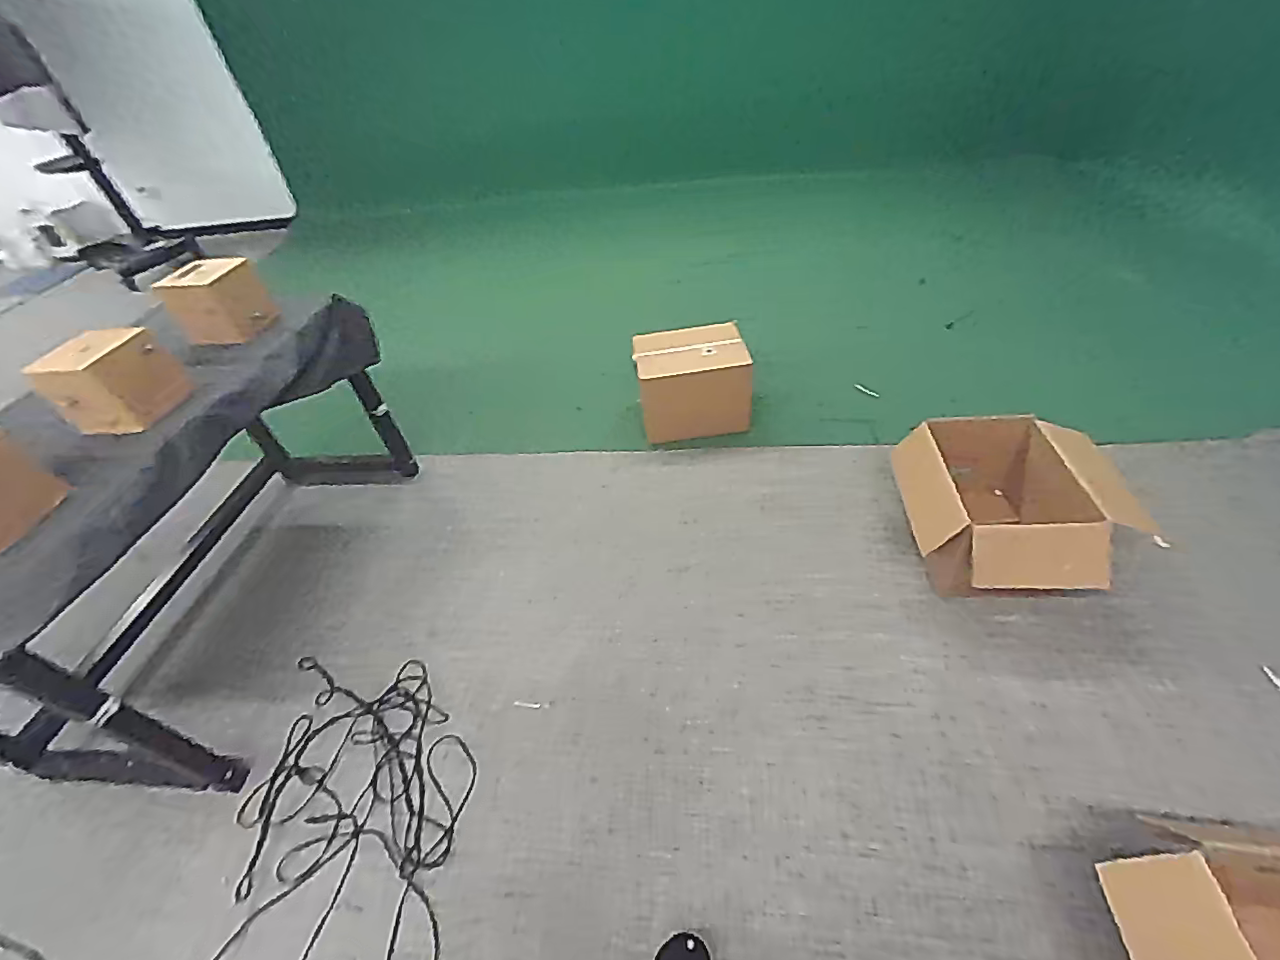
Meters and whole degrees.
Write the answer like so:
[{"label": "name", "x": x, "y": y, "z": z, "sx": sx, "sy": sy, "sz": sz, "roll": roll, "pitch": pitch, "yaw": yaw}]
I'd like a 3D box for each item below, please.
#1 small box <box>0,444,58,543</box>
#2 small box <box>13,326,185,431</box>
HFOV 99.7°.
[{"label": "small box", "x": -1.215, "y": 0.026, "z": 0.947, "sx": 0.168, "sy": 0.176, "sz": 0.179, "roll": -1, "pitch": 43, "yaw": 6}, {"label": "small box", "x": -1.183, "y": -0.221, "z": 1.204, "sx": 0.168, "sy": 0.176, "sz": 0.179, "roll": -1, "pitch": 43, "yaw": 8}]
